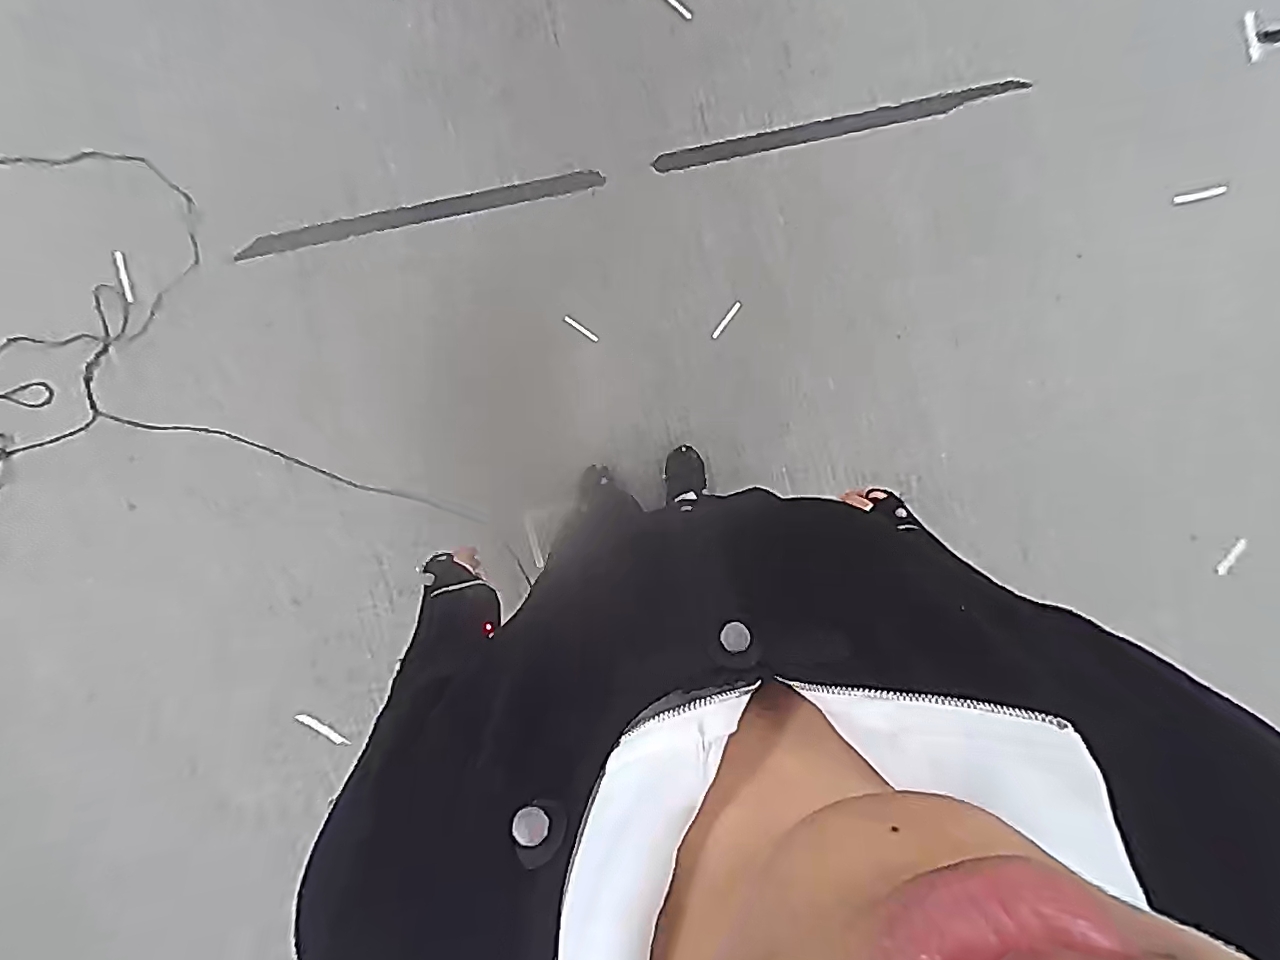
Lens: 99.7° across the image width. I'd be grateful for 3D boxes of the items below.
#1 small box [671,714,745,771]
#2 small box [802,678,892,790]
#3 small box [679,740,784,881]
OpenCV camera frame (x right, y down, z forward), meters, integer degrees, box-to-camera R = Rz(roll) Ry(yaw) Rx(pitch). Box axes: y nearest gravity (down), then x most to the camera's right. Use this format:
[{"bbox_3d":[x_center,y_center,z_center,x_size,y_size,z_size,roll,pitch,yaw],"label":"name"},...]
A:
[{"bbox_3d":[0.179,0.705,1.342,0.168,0.176,0.179,-15,92,-2],"label":"small box"},{"bbox_3d":[0.519,0.622,1.340,0.168,0.176,0.179,-14,93,0],"label":"small box"},{"bbox_3d":[0.193,0.710,1.178,0.168,0.176,0.179,-18,93,-1],"label":"small box"}]
